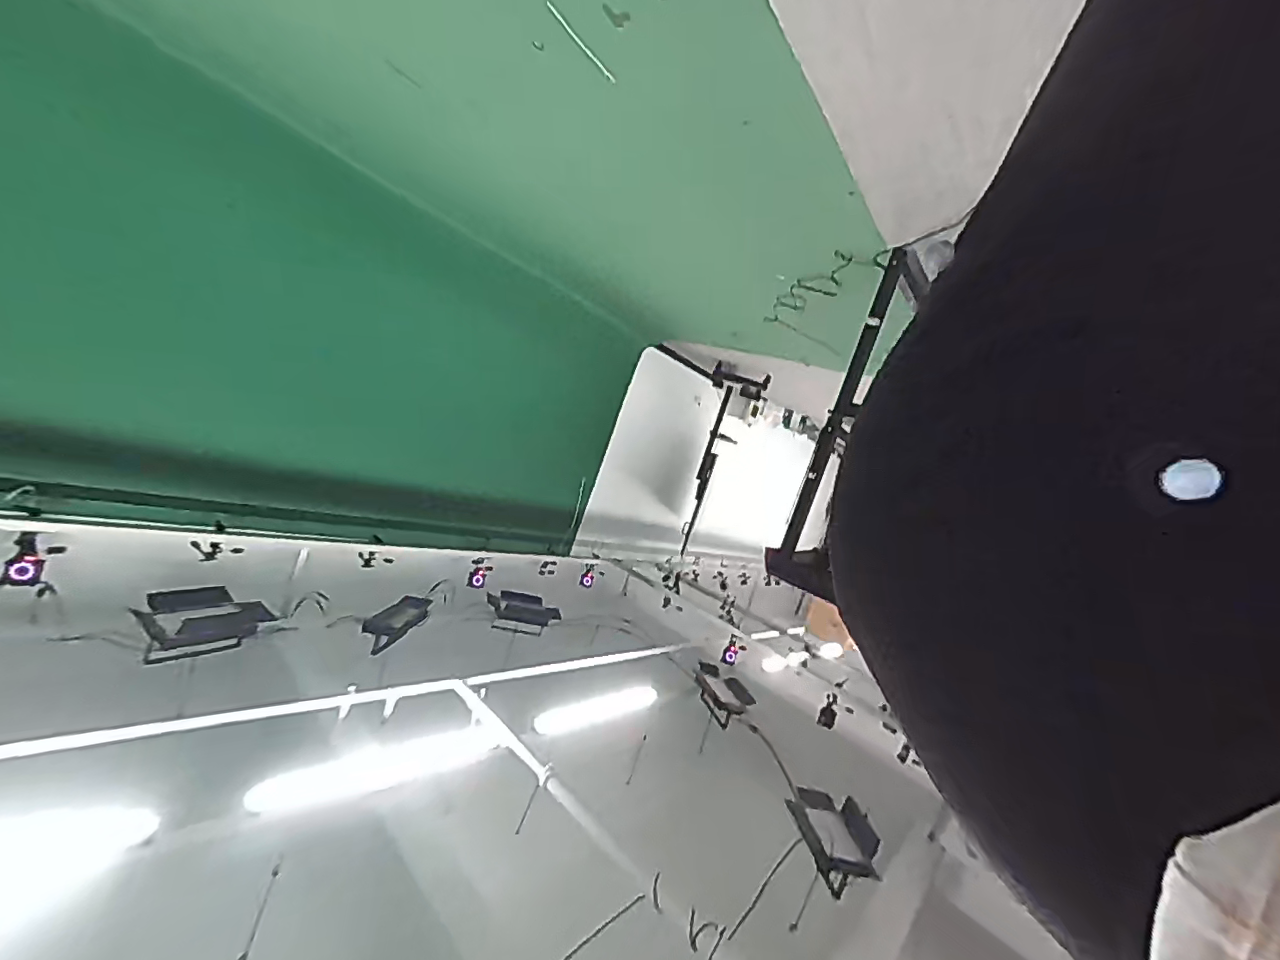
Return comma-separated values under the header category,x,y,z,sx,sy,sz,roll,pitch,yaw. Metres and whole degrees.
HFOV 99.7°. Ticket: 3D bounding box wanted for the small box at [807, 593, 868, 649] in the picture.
category,x,y,z,sx,sy,sz,roll,pitch,yaw
small box,0.827,0.583,2.248,0.179,0.176,0.168,21,-177,39
